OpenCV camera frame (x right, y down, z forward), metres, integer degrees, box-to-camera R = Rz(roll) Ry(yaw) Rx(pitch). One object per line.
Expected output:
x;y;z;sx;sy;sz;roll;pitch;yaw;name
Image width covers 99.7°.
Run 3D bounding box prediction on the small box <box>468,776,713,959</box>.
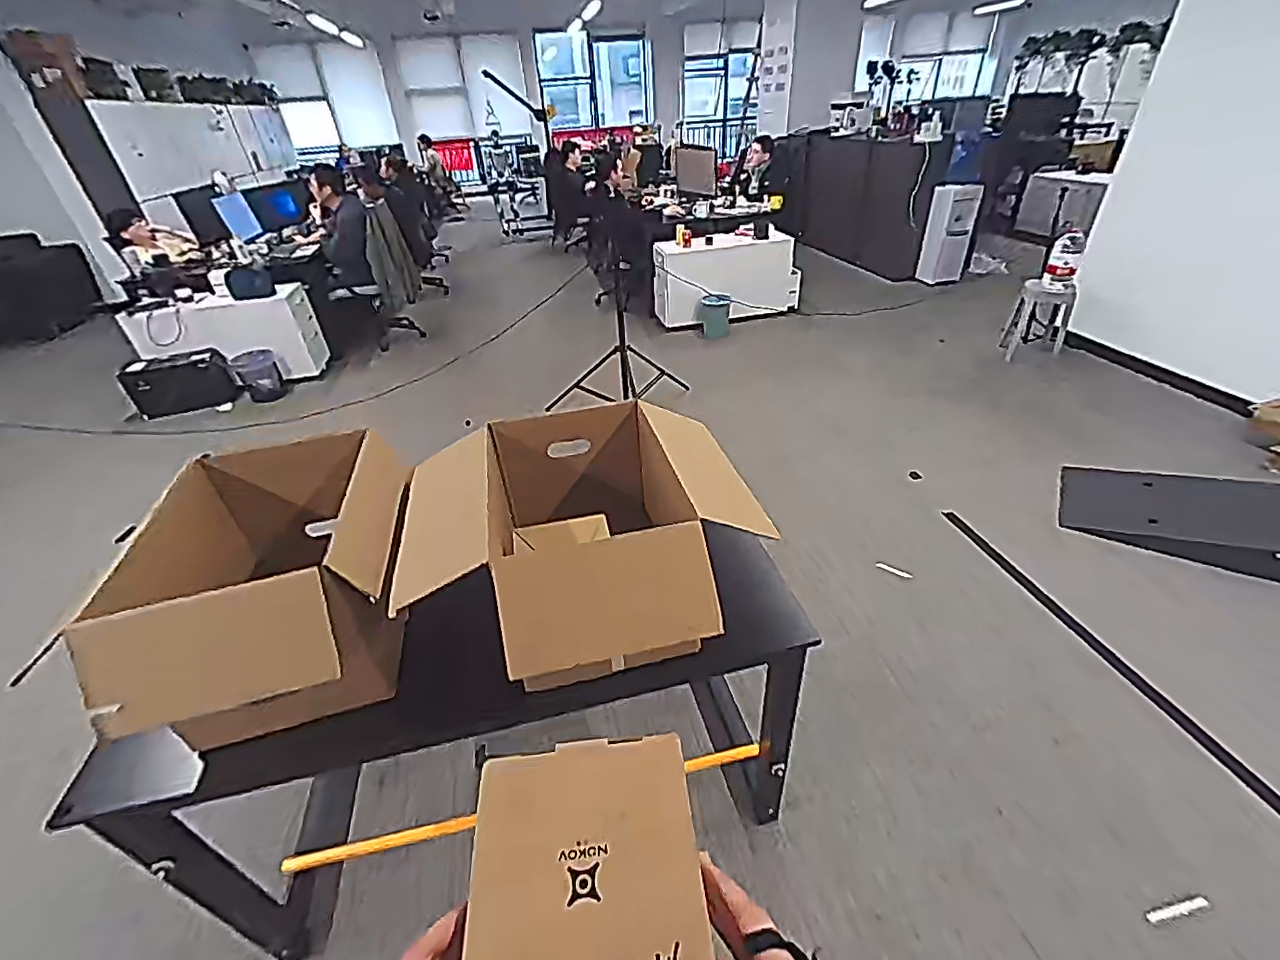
-0.031;0.365;0.425;0.168;0.176;0.179;-7;42;-2;small box
